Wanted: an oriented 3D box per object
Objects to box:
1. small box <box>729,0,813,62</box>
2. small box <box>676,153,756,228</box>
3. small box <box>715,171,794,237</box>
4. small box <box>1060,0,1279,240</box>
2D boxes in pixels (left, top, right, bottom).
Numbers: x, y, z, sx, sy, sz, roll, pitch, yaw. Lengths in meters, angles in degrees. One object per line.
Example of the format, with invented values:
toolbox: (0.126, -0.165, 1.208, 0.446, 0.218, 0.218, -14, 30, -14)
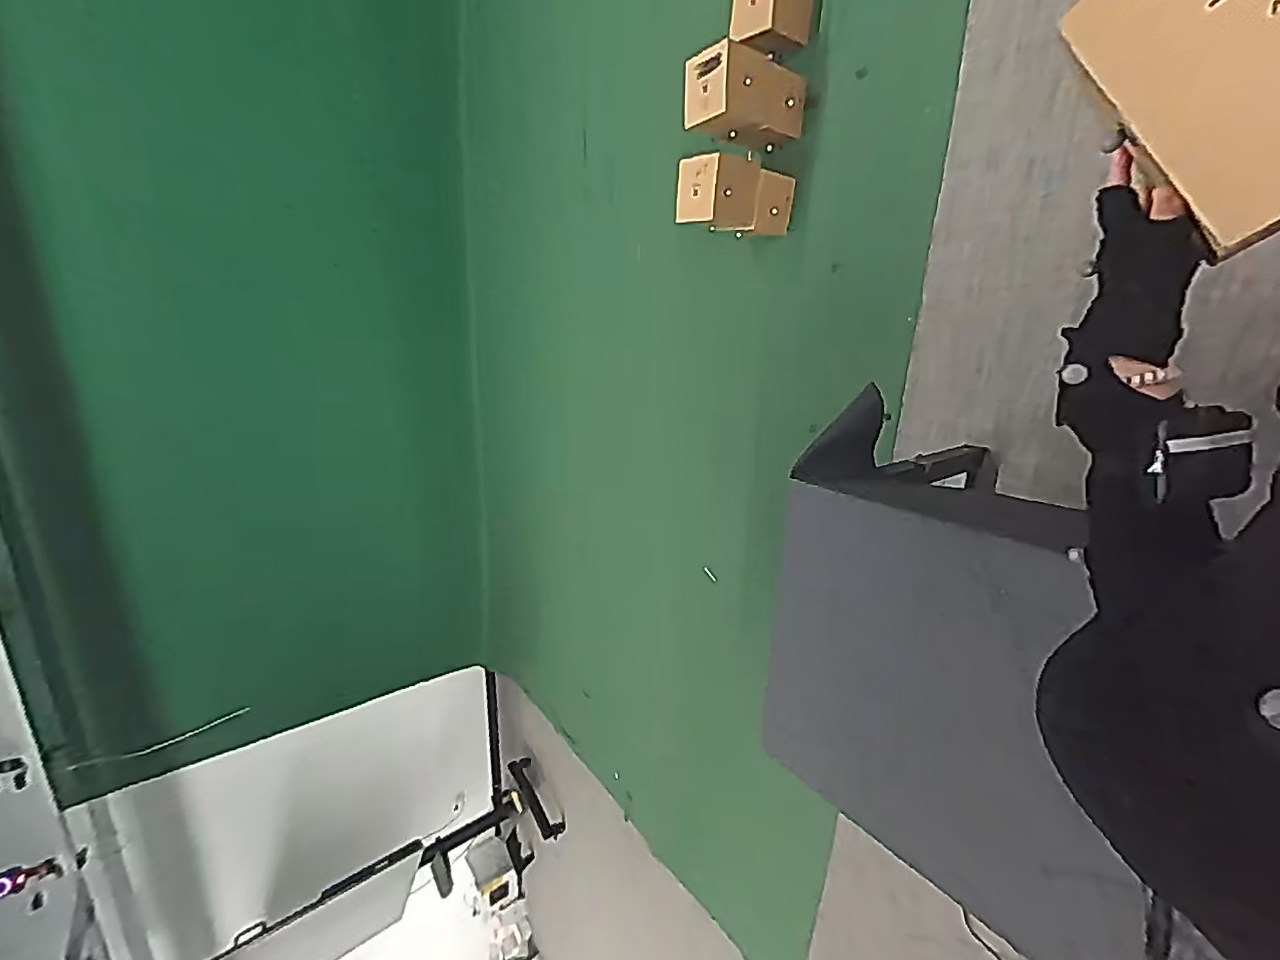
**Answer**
small box: (0.390, -1.376, 1.590, 0.168, 0.176, 0.179, 27, 119, 47)
small box: (0.232, -0.867, 1.638, 0.168, 0.176, 0.179, 27, 119, 47)
small box: (0.368, -0.879, 1.731, 0.179, 0.176, 0.168, 28, 120, 47)
small box: (0.395, -0.269, 0.320, 0.168, 0.176, 0.179, -36, 77, 45)
